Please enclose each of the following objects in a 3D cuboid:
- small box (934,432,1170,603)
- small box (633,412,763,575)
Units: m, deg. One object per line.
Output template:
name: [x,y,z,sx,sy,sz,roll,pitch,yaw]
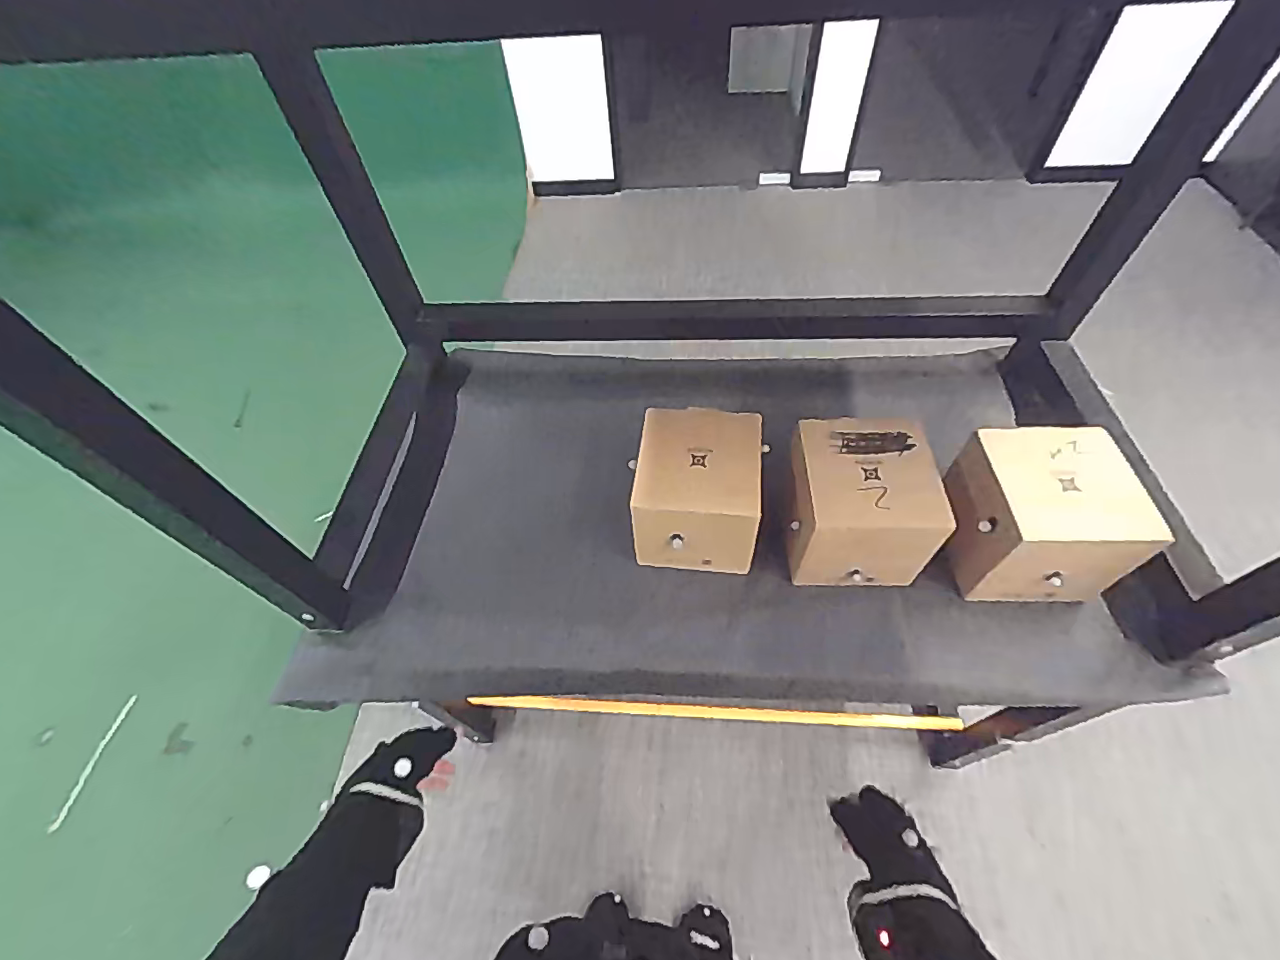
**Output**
small box: [0.531,0.056,0.732,0.168,0.176,0.179,0,53,4]
small box: [0.088,0.023,0.792,0.168,0.176,0.179,4,54,7]
